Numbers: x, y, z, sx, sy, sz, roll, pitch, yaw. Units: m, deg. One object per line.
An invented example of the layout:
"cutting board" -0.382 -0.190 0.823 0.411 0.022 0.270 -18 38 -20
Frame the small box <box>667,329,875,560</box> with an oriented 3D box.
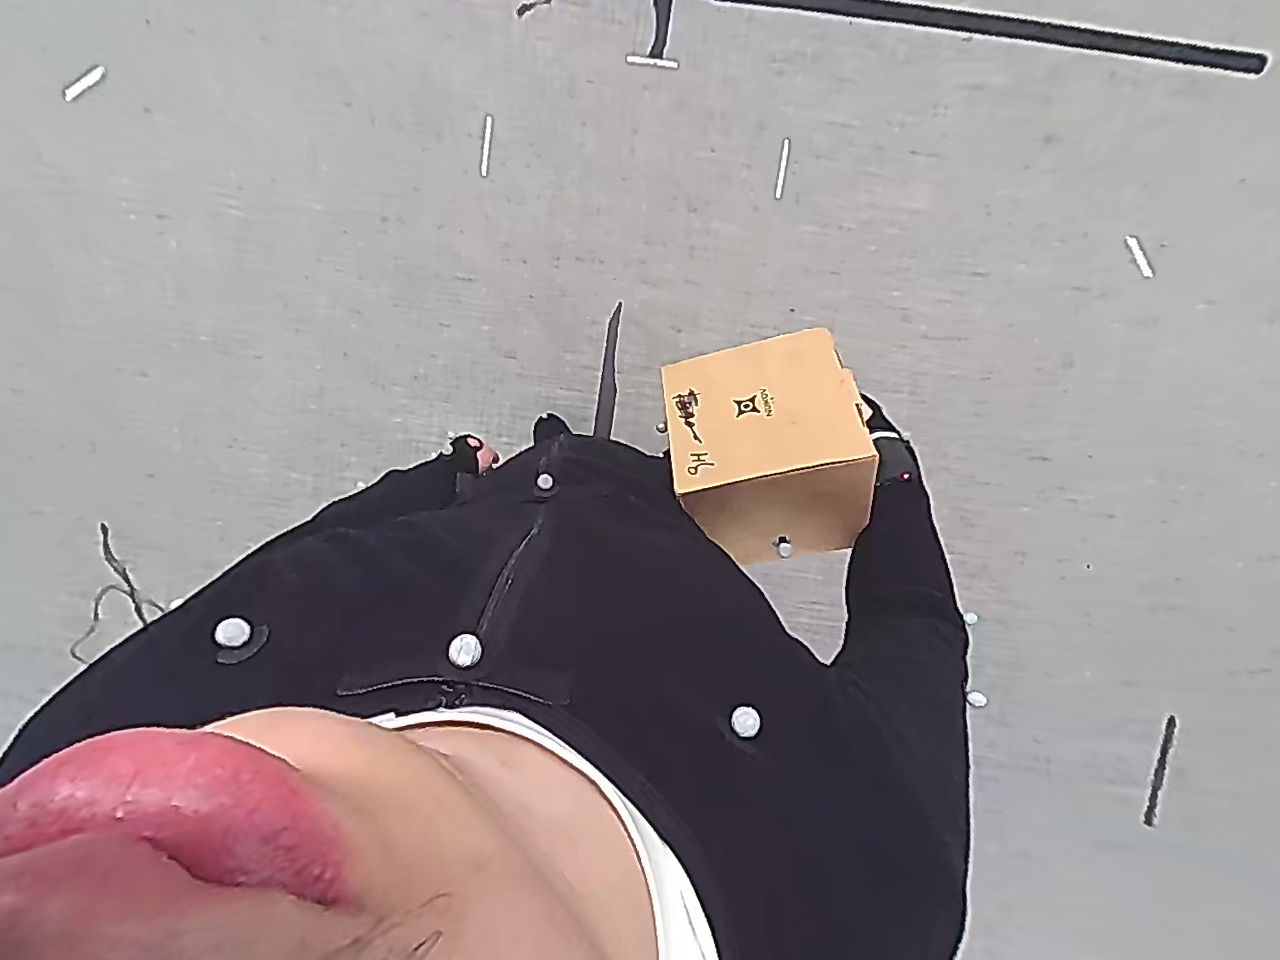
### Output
"small box" 0.136 -0.030 0.589 0.179 0.176 0.168 -11 53 11
